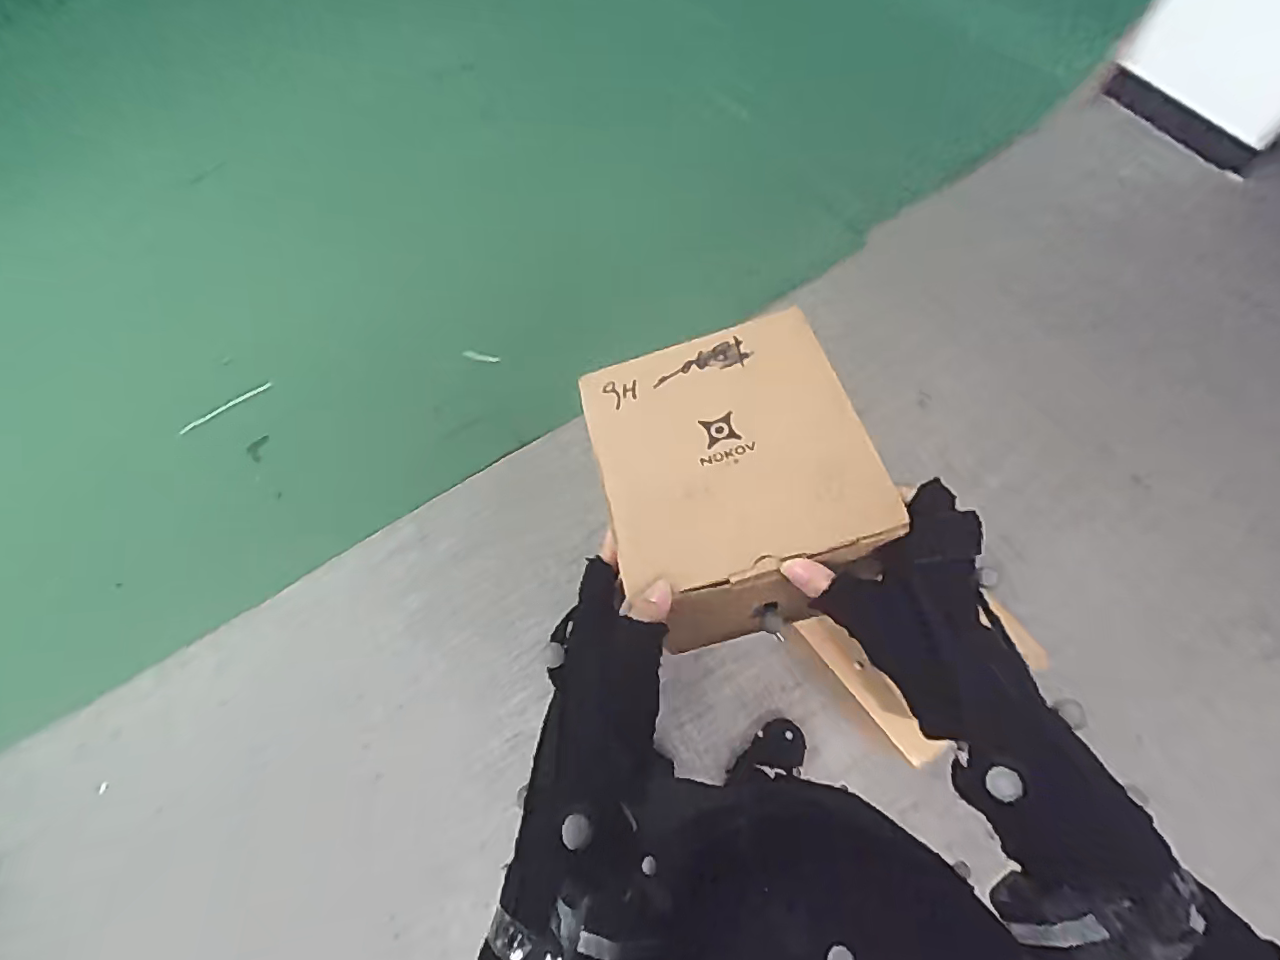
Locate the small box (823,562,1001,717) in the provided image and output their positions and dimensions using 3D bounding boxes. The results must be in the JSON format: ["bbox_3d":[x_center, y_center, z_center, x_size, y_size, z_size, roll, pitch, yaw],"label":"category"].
[{"bbox_3d":[0.431,0.261,0.891,0.168,0.176,0.179,-31,69,-4],"label":"small box"}]

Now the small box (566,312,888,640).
[{"bbox_3d":[0.060,0.014,0.414,0.168,0.176,0.179,-18,63,4],"label":"small box"}]
